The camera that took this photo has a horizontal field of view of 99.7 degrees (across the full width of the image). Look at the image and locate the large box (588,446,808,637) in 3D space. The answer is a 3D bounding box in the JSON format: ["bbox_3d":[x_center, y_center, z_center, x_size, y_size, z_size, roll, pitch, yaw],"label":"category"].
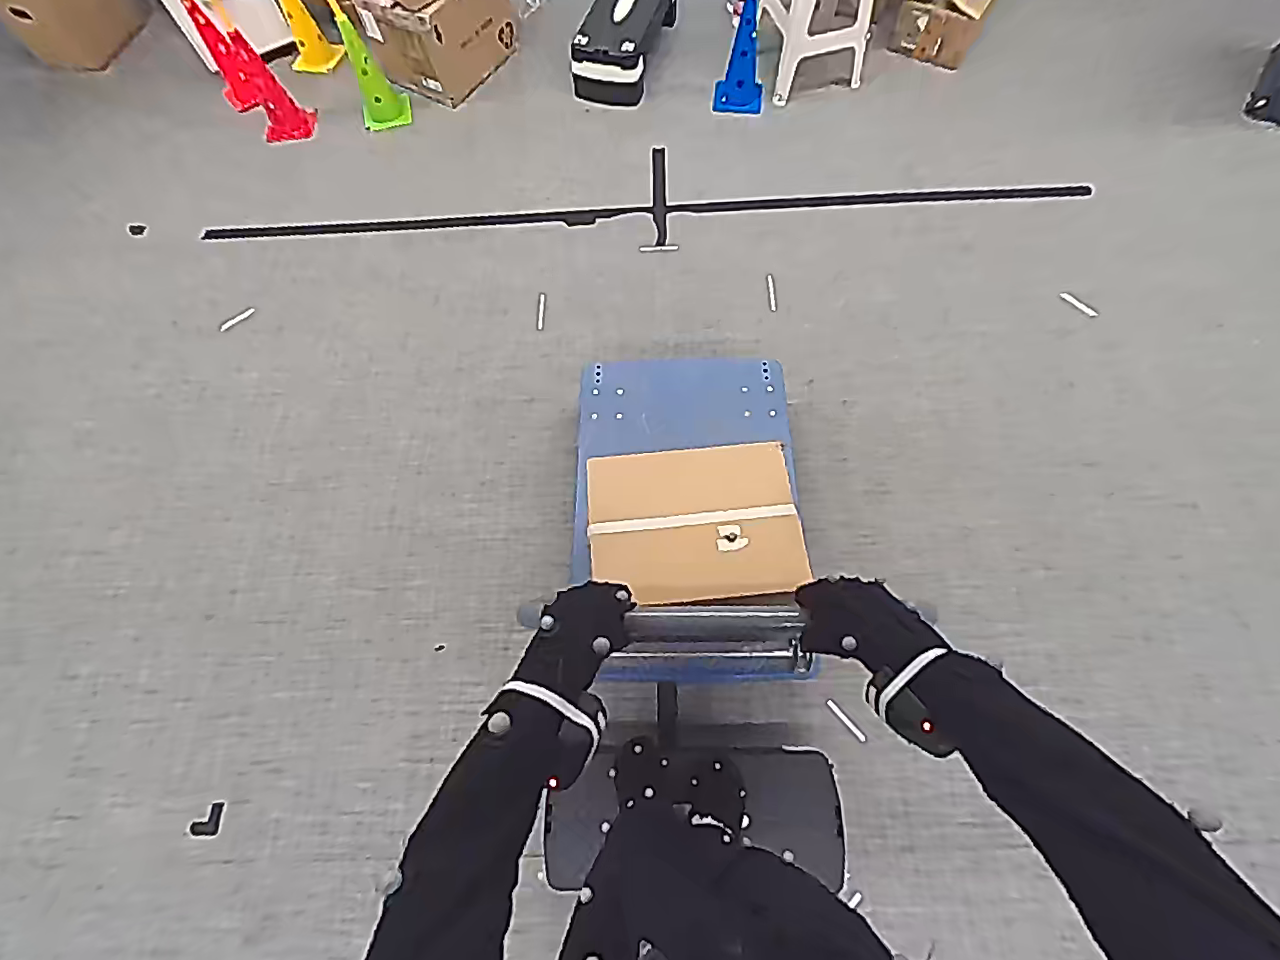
[{"bbox_3d":[0.105,0.149,1.203,0.408,0.320,0.320,-5,65,-1],"label":"large box"}]
